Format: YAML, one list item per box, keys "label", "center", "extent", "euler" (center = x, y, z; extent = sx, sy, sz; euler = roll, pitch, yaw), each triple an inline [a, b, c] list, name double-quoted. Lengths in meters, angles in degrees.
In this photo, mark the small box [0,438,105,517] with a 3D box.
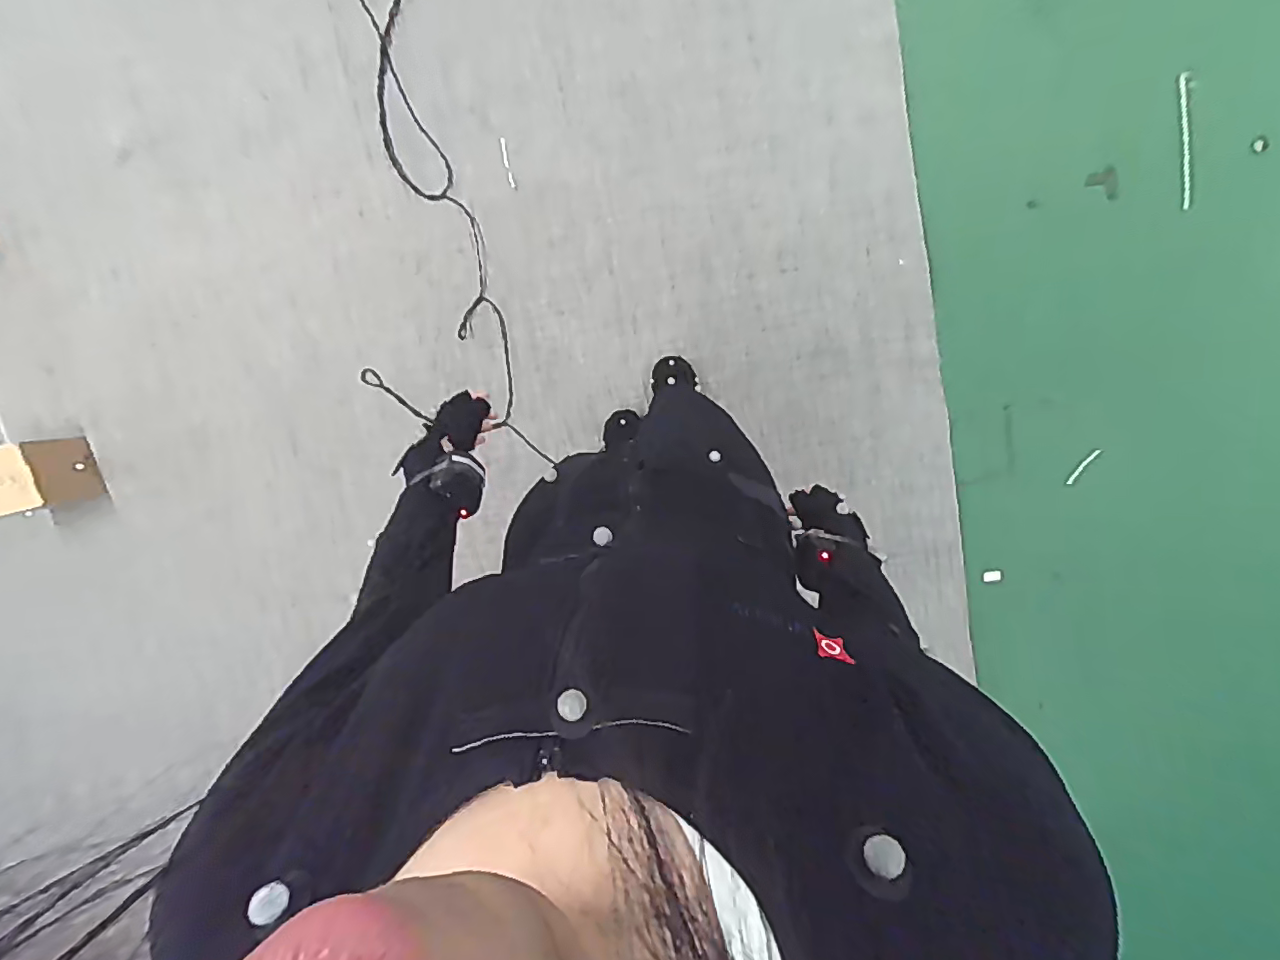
- label: "small box"
  center: [-1.578, -0.007, 1.408]
  extent: [0.179, 0.176, 0.168]
  euler: [-13, 100, 3]
